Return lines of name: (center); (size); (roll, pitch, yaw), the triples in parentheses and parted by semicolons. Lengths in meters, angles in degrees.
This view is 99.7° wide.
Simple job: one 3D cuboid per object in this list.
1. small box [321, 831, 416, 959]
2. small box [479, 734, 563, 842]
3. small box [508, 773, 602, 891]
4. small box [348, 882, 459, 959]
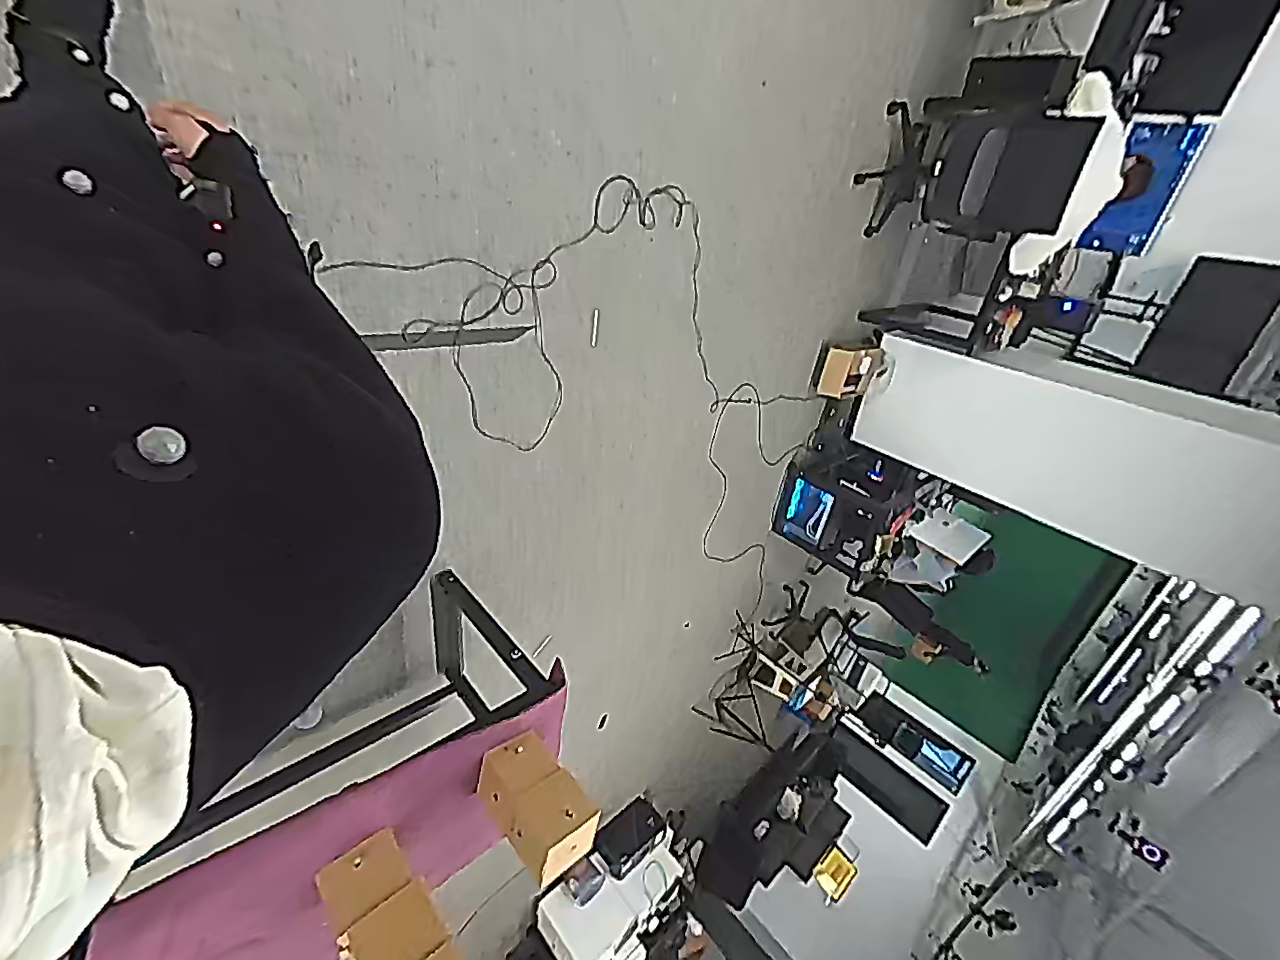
small box: (-0.661, 1.021, 1.325); (0.179, 0.176, 0.168); (-21, 131, -38)
small box: (-0.351, 0.888, 1.575); (0.168, 0.176, 0.179); (-8, 120, -45)
small box: (-0.235, 0.947, 1.474); (0.179, 0.176, 0.168); (-10, 122, -44)
small box: (-0.536, 1.078, 1.234); (0.179, 0.176, 0.168); (-21, 130, -38)
